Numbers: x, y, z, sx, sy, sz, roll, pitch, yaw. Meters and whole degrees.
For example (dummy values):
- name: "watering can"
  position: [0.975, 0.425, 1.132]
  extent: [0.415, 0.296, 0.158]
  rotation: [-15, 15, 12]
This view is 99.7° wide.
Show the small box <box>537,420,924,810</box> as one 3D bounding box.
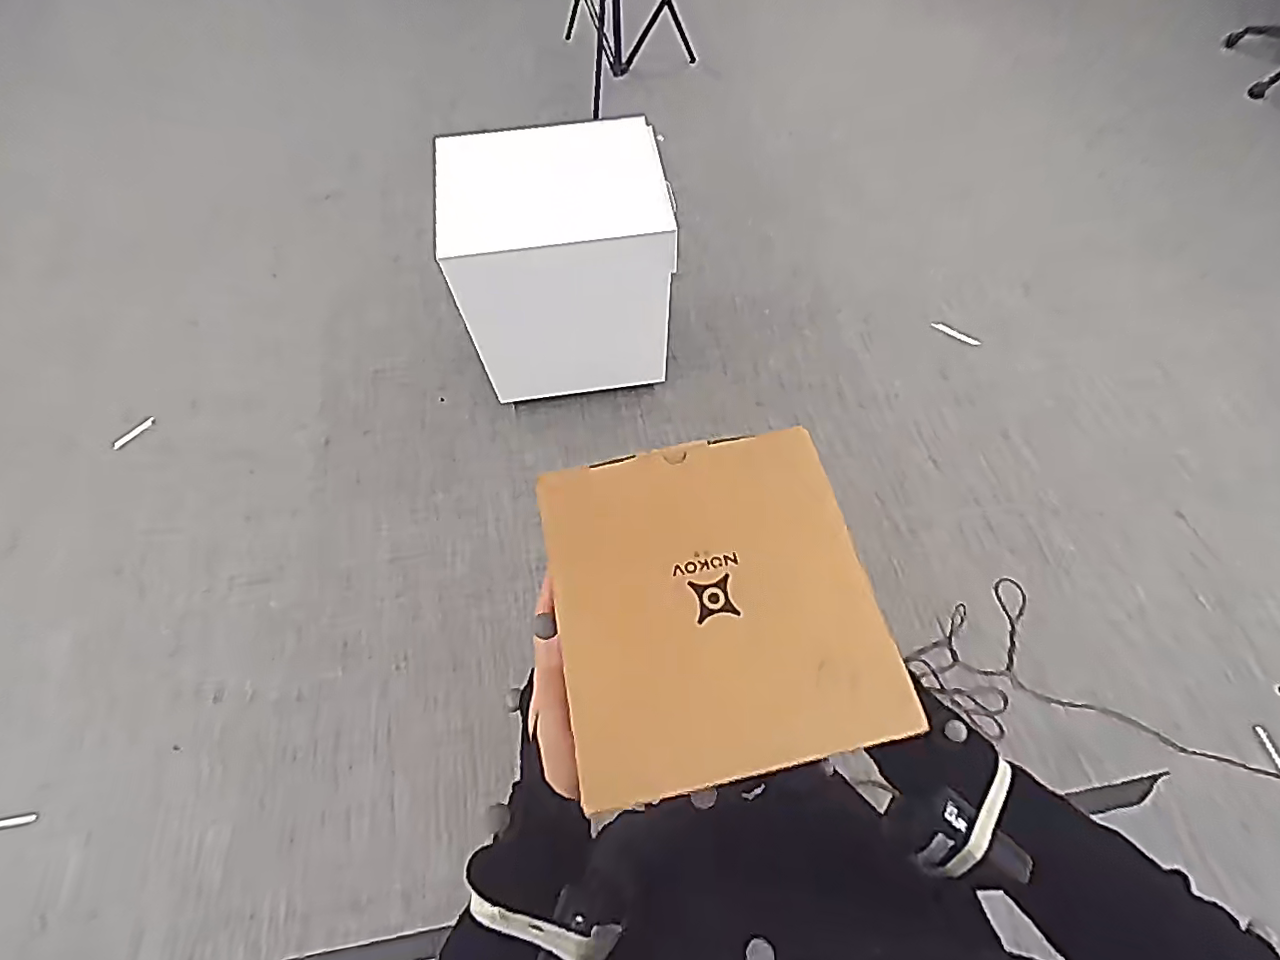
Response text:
- name: "small box"
  position: [0.038, 0.090, 0.352]
  extent: [0.168, 0.176, 0.179]
  rotation: [-11, 63, -5]
